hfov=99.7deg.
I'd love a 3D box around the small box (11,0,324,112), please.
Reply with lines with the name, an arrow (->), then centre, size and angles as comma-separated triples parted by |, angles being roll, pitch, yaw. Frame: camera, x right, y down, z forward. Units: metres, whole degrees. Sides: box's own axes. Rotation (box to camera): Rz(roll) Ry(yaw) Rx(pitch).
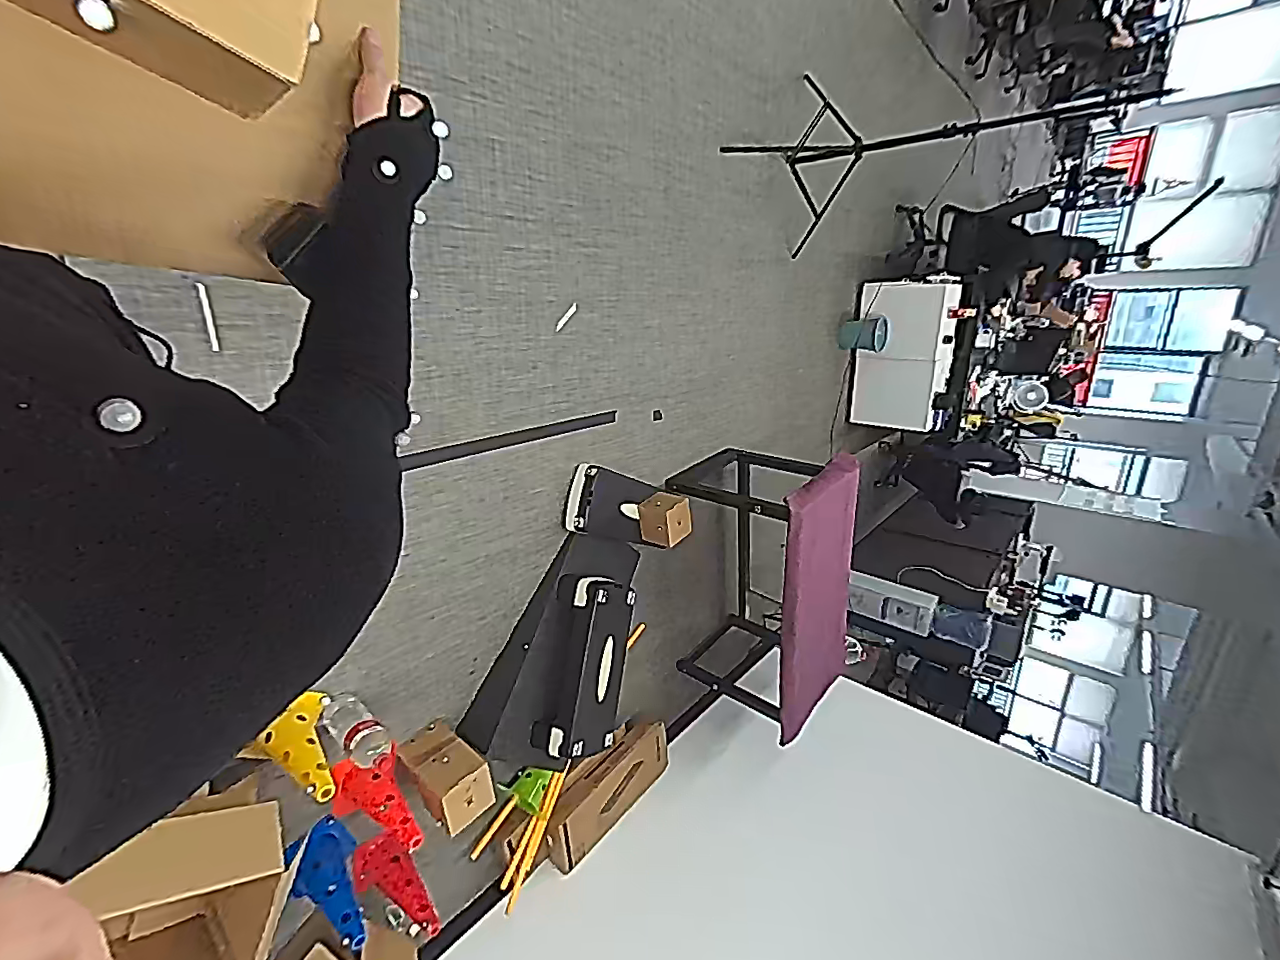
small box -> -0.317, -0.374, 0.351 | 0.179, 0.176, 0.168 | 10, 101, -45
